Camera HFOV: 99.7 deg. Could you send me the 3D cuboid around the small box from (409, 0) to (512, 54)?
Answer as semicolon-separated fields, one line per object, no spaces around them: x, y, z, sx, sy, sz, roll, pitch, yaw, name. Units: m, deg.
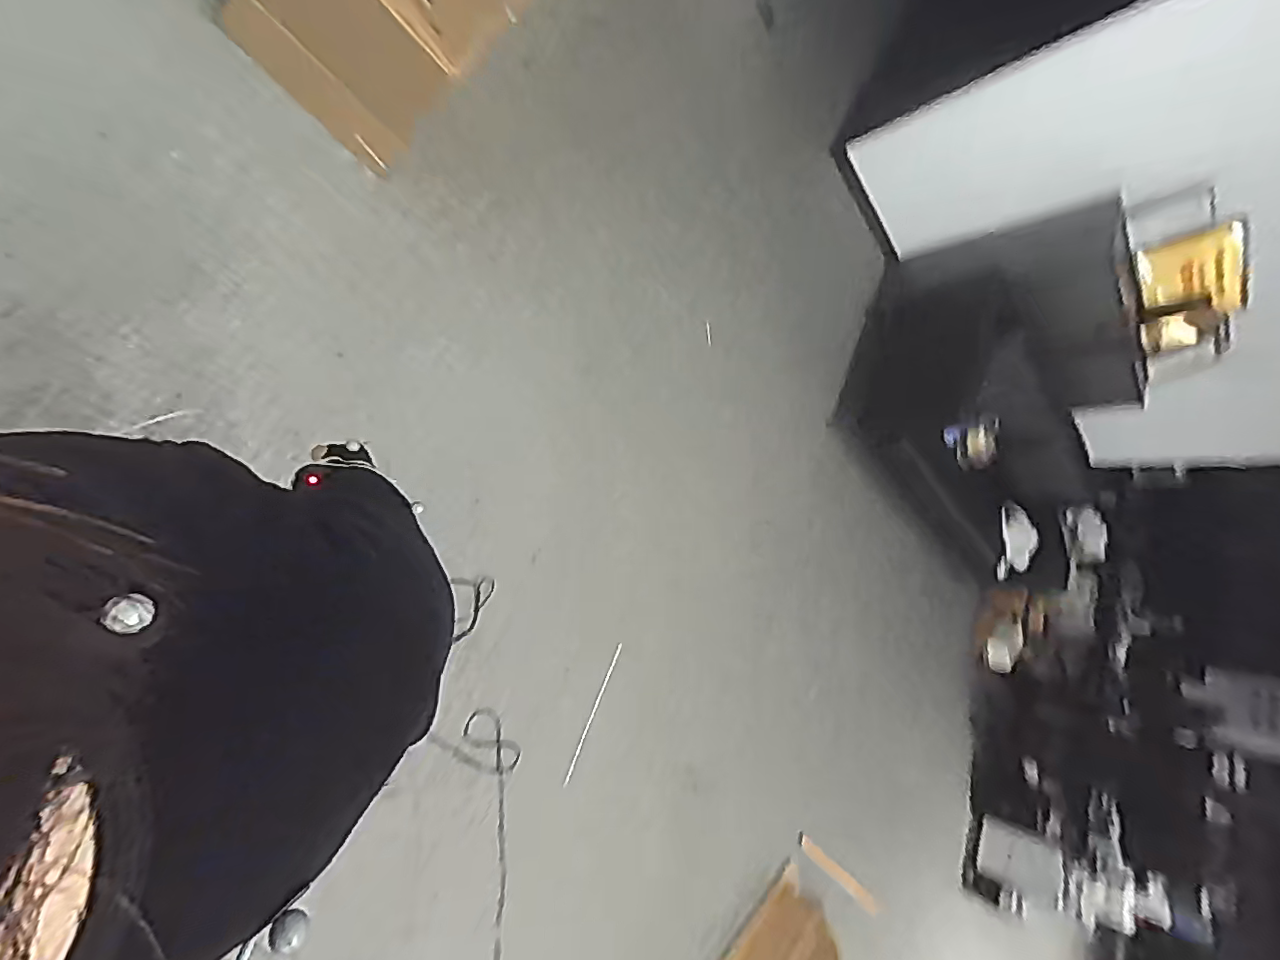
-0.332;-0.964;1.014;0.168;0.176;0.179;44;64;-32;small box
